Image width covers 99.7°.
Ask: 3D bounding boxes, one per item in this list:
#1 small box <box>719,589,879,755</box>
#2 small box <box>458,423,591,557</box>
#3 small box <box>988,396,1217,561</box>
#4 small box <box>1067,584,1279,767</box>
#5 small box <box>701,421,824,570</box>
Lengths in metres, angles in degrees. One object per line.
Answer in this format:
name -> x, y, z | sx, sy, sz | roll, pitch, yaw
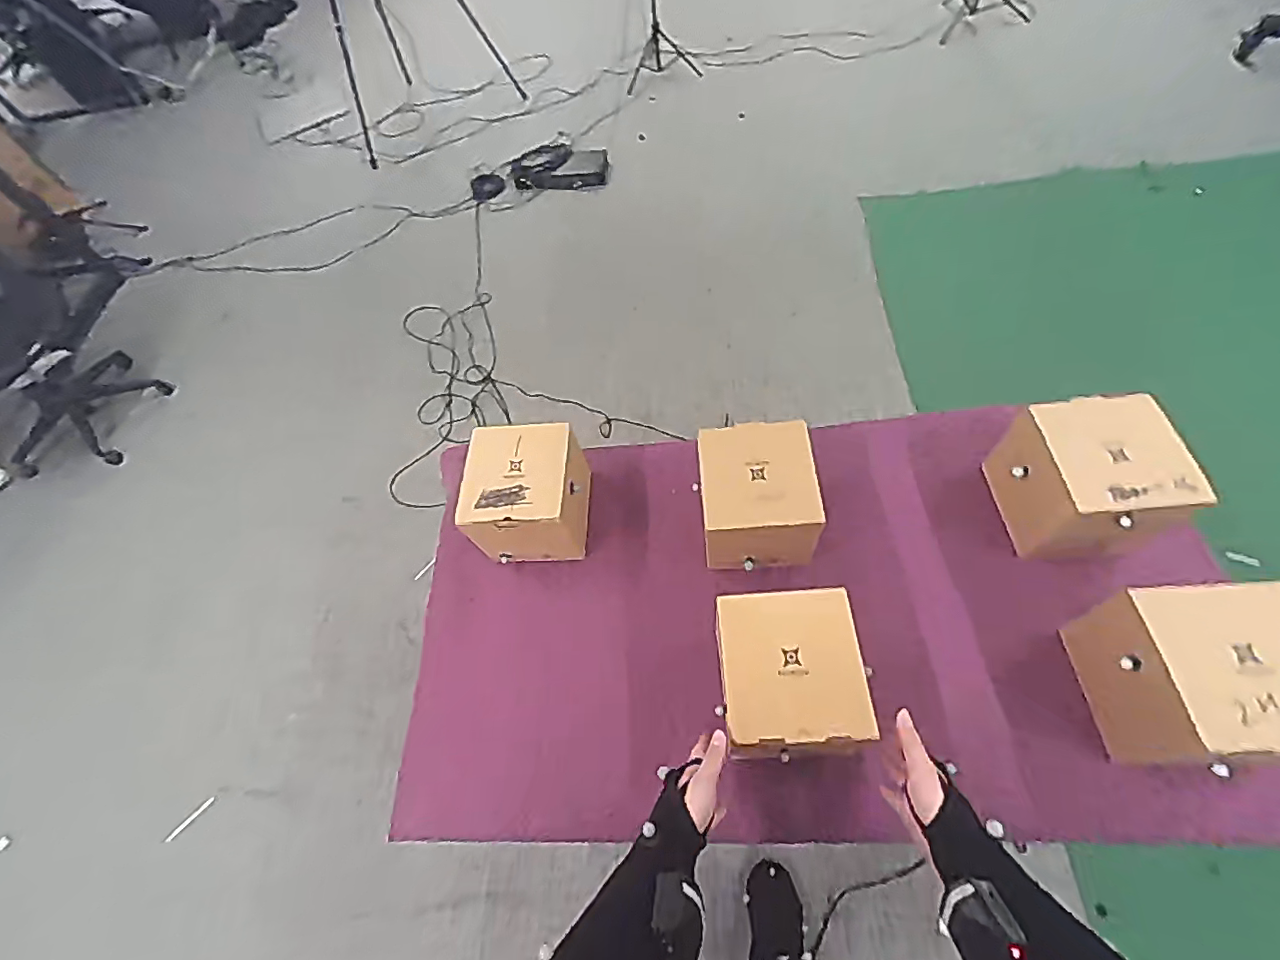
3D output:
small box -> 0.194, 0.259, 0.718 | 0.168, 0.176, 0.179 | -5, 59, 6
small box -> -0.181, 0.025, 0.911 | 0.168, 0.176, 0.179 | -2, 61, 7
small box -> 0.651, 0.003, 0.795 | 0.168, 0.176, 0.179 | -6, 59, 7
small box -> 0.666, 0.238, 0.649 | 0.168, 0.176, 0.179 | -4, 58, 8
small box -> 0.183, 0.030, 0.856 | 0.168, 0.176, 0.179 | -4, 60, 7
